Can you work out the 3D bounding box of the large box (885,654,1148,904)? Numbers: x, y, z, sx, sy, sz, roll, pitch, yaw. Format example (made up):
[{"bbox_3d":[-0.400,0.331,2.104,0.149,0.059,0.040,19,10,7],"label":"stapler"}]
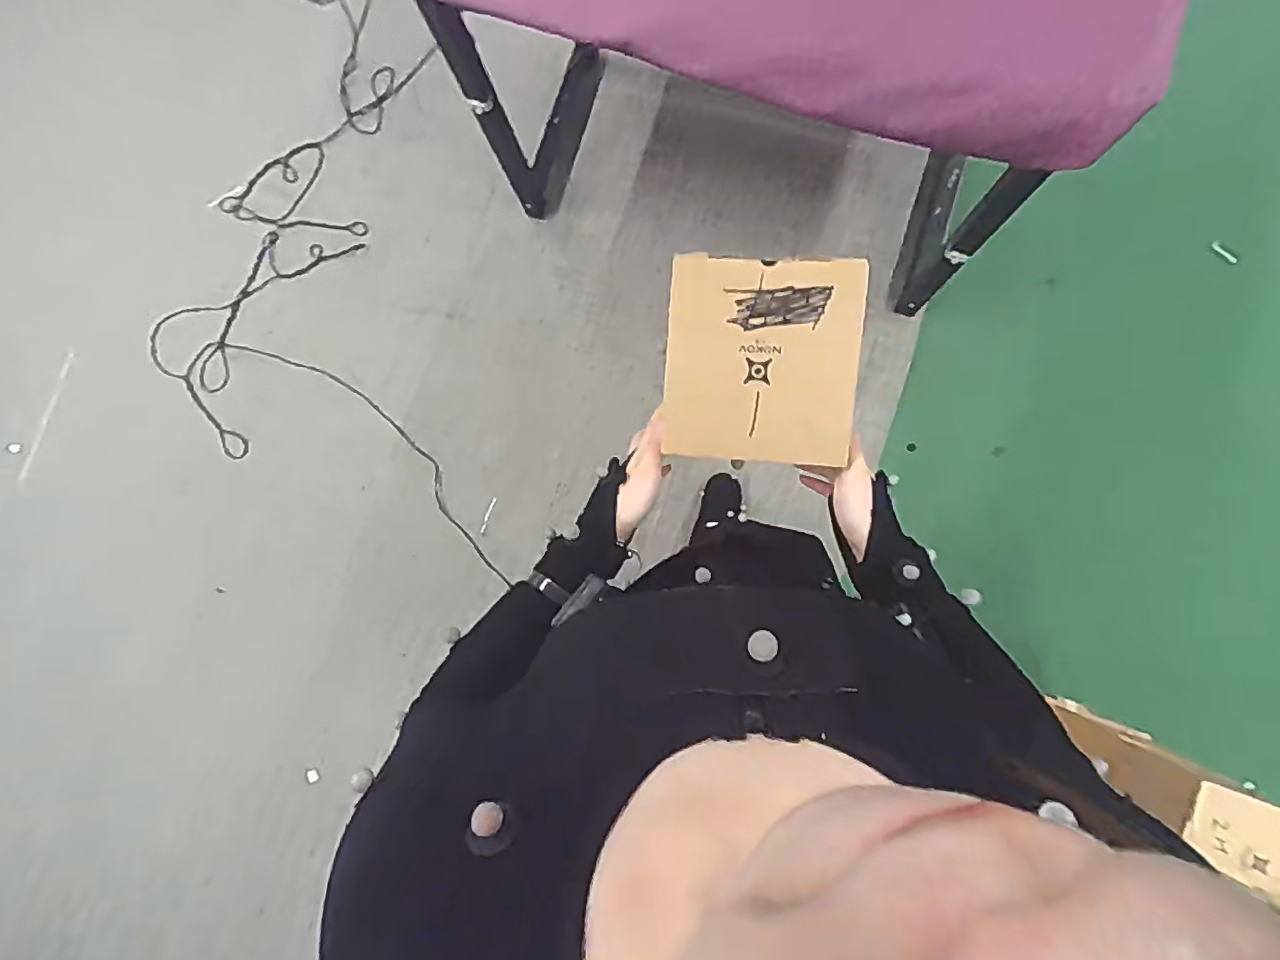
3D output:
[{"bbox_3d":[0.808,0.663,1.213,0.320,0.320,0.408,20,87,8],"label":"large box"}]

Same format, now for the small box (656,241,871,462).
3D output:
[{"bbox_3d":[0.111,-0.116,0.532,0.168,0.176,0.179,5,97,8],"label":"small box"}]

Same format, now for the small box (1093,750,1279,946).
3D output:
[{"bbox_3d":[0.848,0.538,0.812,0.179,0.176,0.168,19,86,8],"label":"small box"}]

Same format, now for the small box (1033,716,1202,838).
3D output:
[{"bbox_3d":[0.867,0.554,0.975,0.179,0.176,0.168,20,87,8],"label":"small box"}]
